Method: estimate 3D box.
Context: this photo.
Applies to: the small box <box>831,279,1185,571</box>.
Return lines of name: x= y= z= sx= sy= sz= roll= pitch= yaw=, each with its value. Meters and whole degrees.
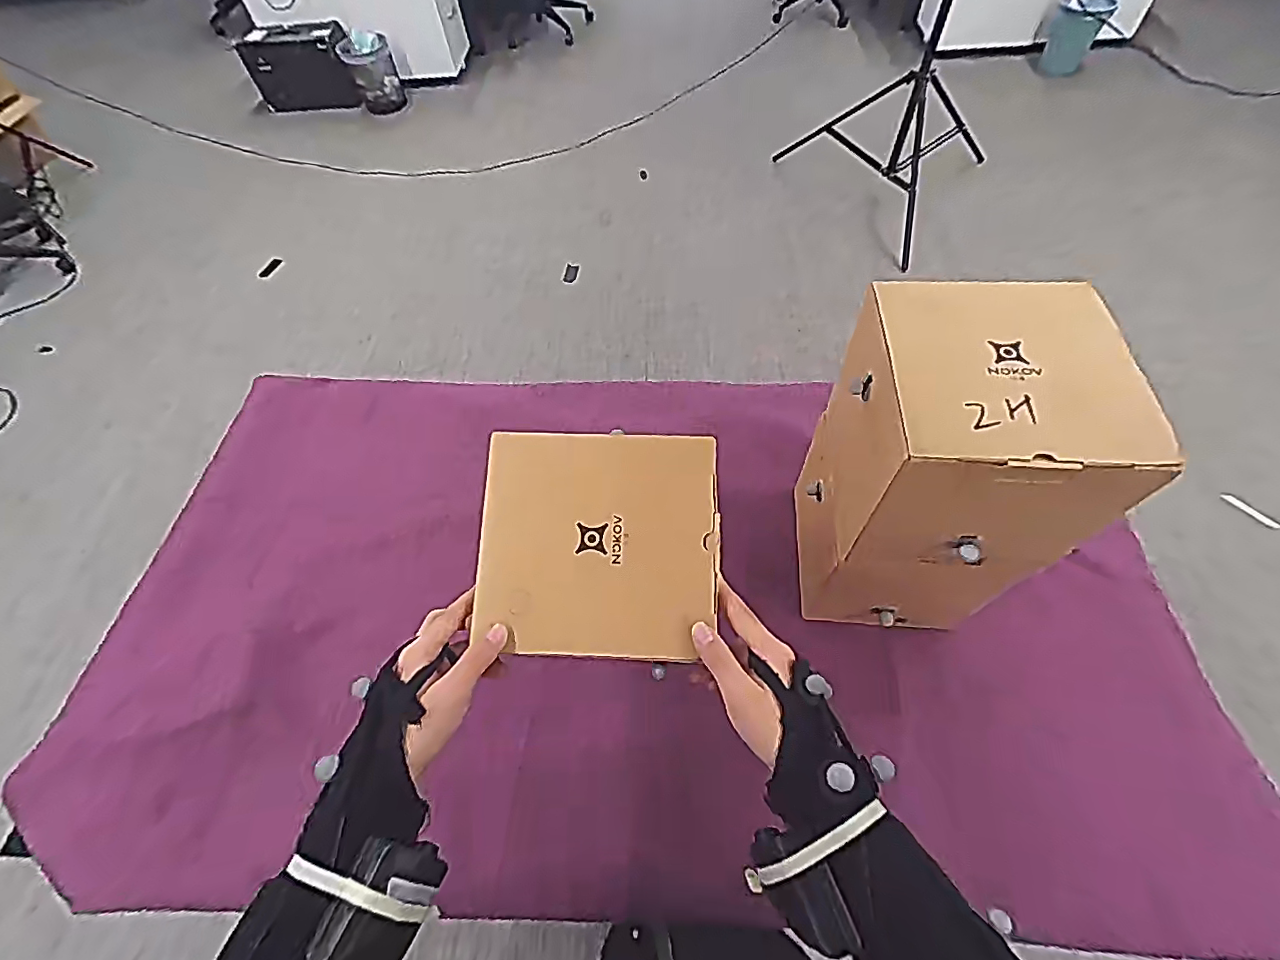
small box: x=0.265 y=-0.042 z=0.450 sx=0.168 sy=0.176 sz=0.179 roll=2 pitch=58 yaw=6

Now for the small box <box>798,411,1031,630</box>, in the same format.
small box: x=0.273 y=0.047 z=0.589 sx=0.168 sy=0.176 sz=0.179 roll=3 pitch=58 yaw=6

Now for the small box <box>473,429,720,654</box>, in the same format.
small box: x=-0.026 y=0.064 z=0.474 sx=0.179 sy=0.176 sz=0.168 roll=2 pitch=74 yaw=1
